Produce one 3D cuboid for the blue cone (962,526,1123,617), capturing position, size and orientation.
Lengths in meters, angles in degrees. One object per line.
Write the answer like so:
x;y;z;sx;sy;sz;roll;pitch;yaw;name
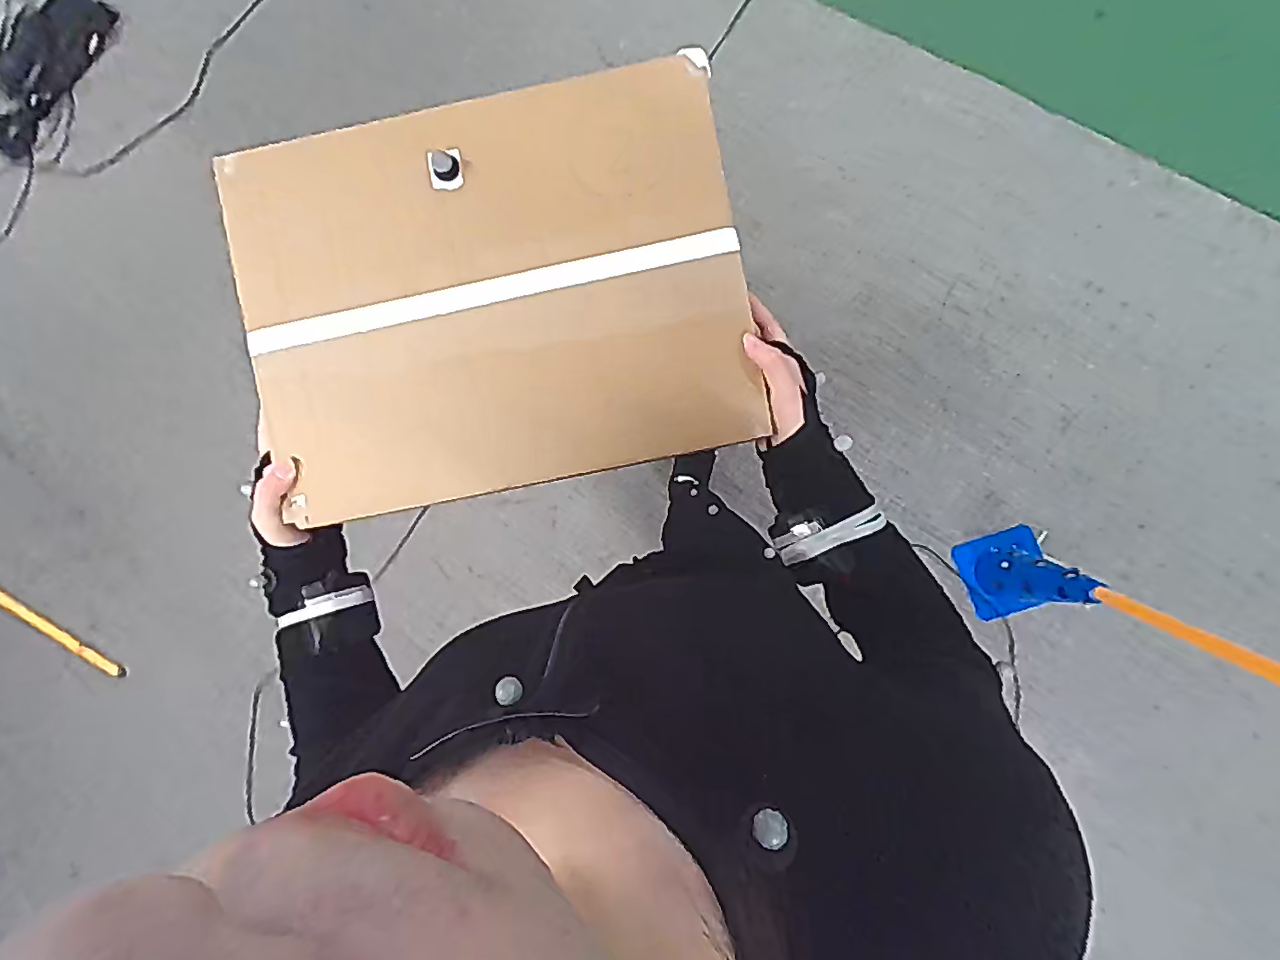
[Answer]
0.896;0.212;1.181;0.193;0.380;0.192;-23;84;6;blue cone
